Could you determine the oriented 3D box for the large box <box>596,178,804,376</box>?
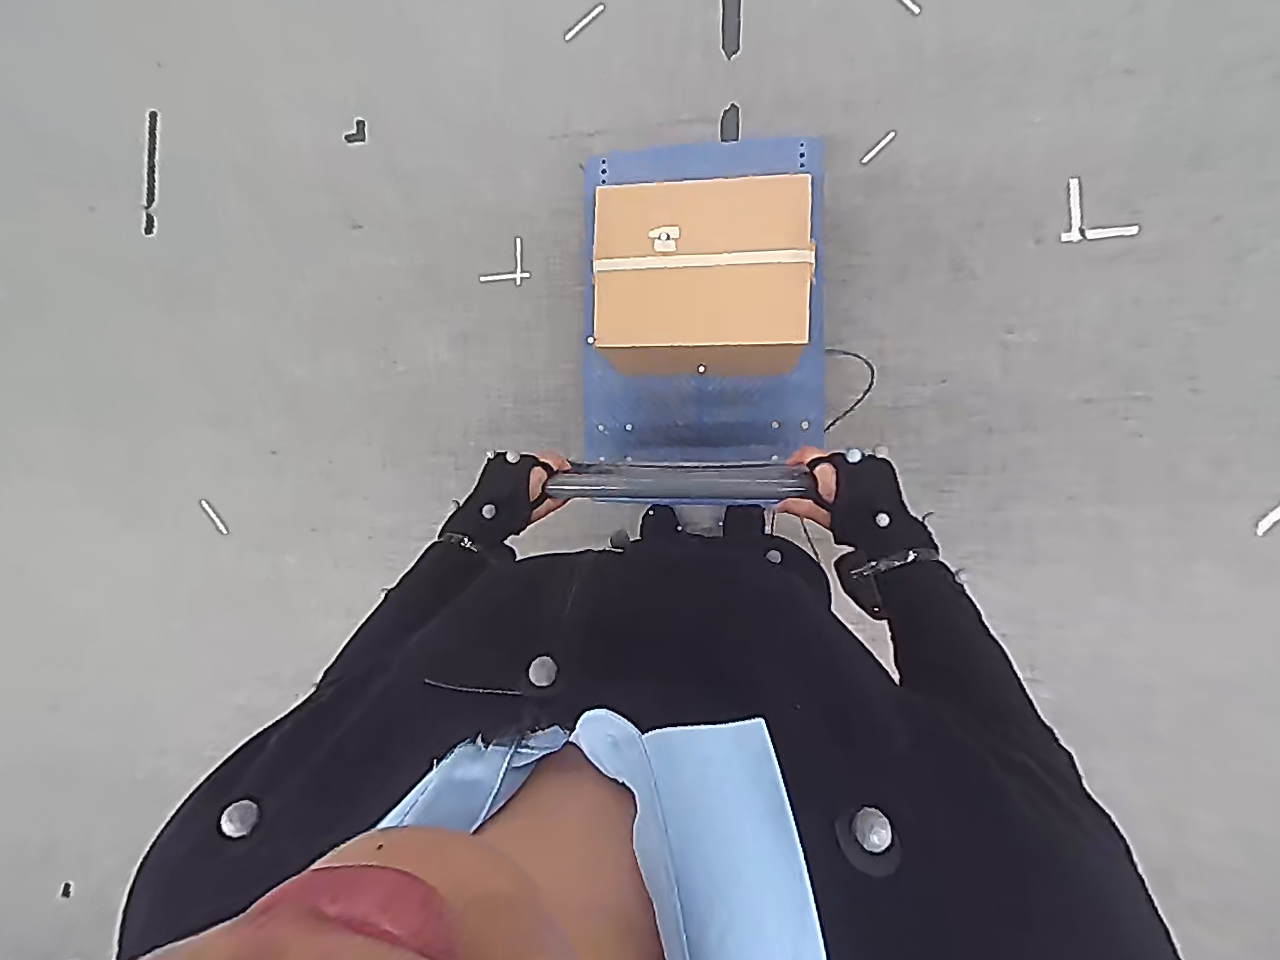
[{"bbox_3d":[0.135,-0.412,1.186,0.408,0.320,0.320,1,89,9],"label":"large box"}]
